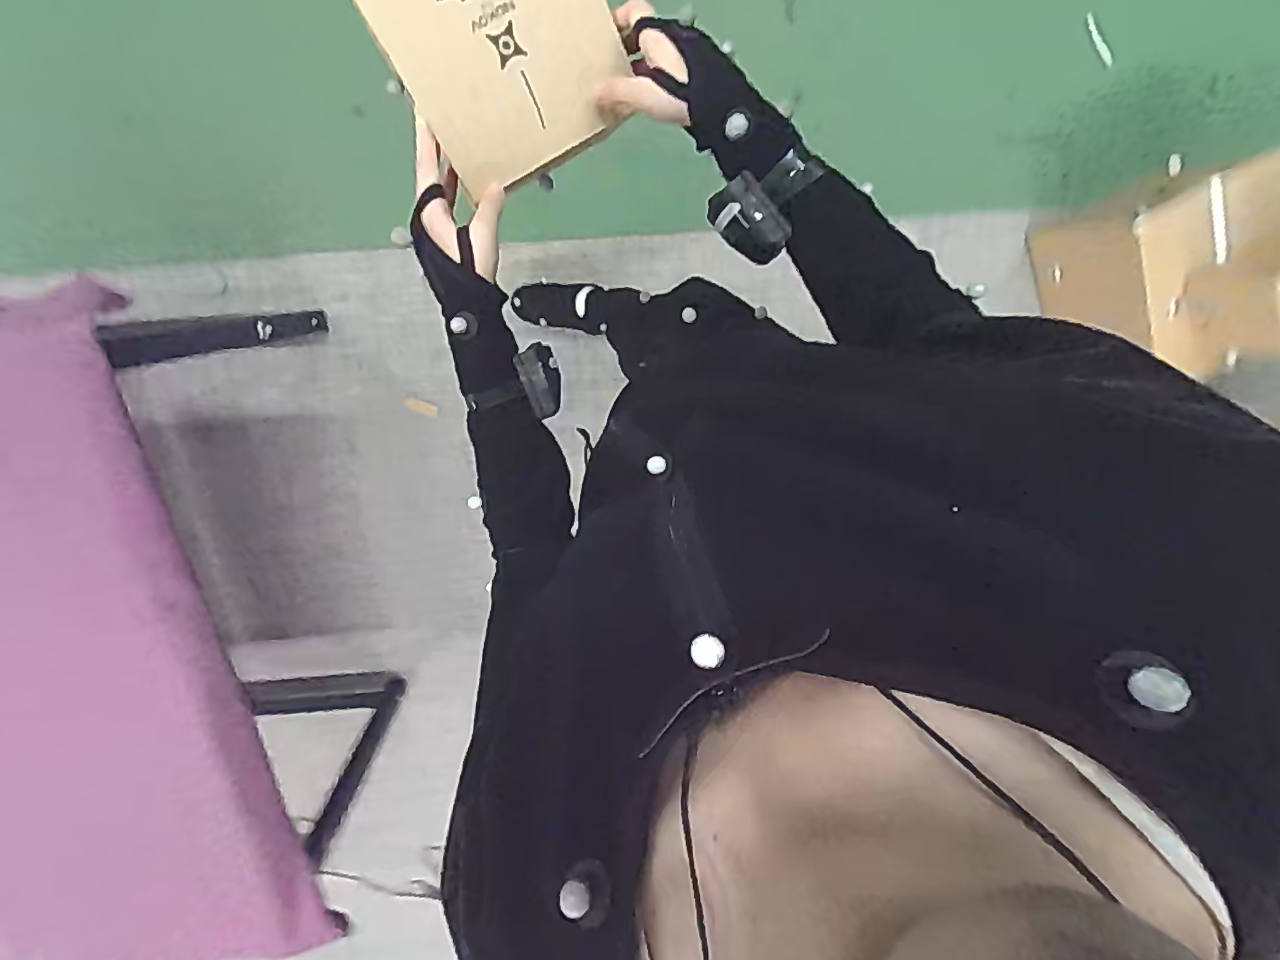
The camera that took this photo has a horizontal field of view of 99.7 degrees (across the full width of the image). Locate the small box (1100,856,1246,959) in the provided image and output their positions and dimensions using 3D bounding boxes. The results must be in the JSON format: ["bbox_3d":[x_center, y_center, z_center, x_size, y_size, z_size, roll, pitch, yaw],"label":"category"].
[{"bbox_3d":[1.381,1.124,1.414,0.179,0.176,0.168,13,108,-8],"label":"small box"}]
